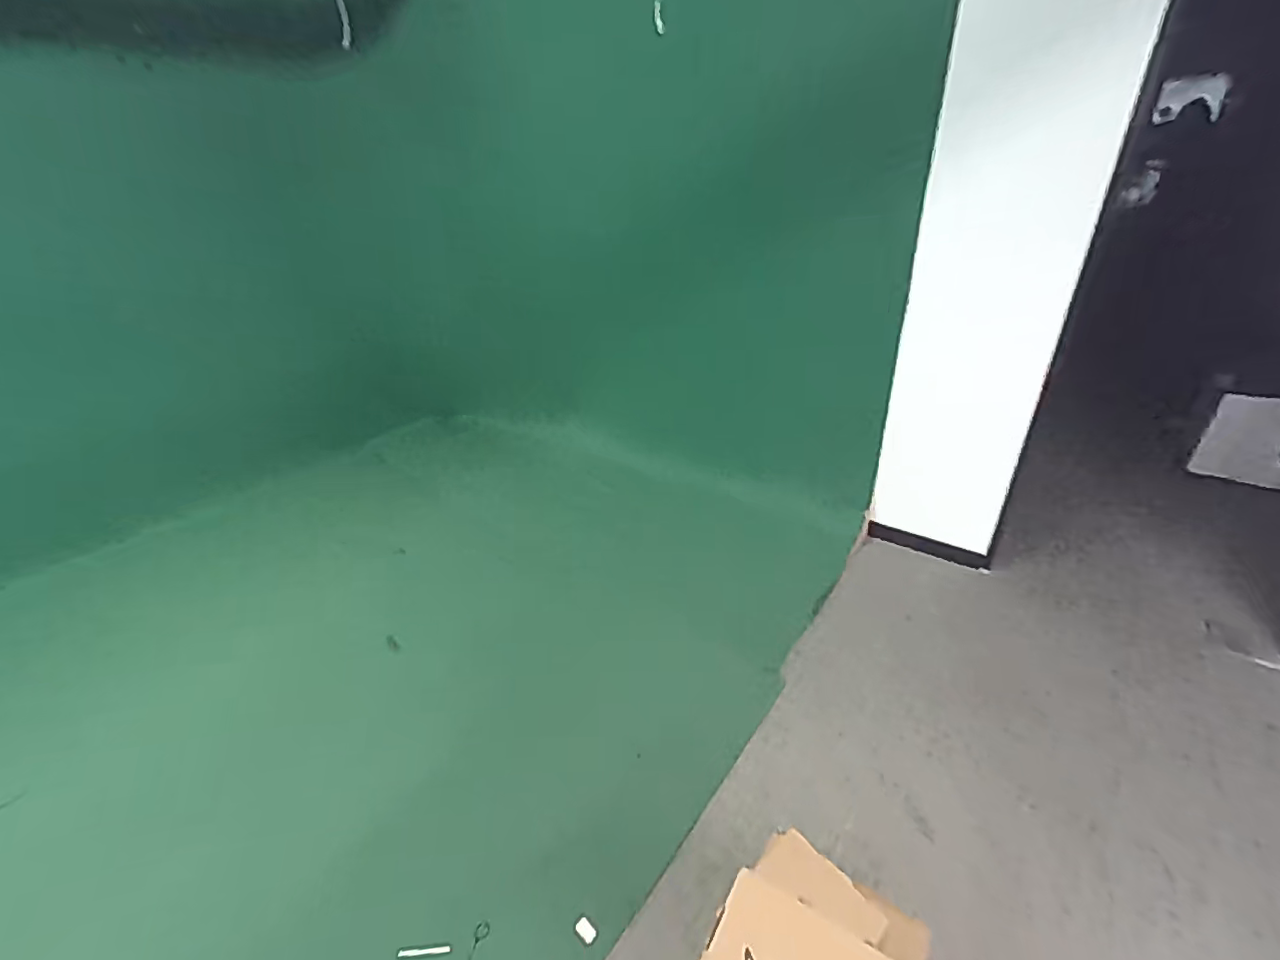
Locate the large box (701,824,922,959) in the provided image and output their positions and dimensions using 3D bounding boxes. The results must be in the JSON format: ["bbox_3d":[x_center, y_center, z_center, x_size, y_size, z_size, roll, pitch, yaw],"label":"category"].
[{"bbox_3d":[0.299,0.994,1.026,0.320,0.320,0.408,19,38,33],"label":"large box"}]

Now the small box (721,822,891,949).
[{"bbox_3d":[0.235,0.666,0.793,0.179,0.176,0.168,-27,36,-29],"label":"small box"}]

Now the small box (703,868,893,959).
[{"bbox_3d":[0.116,0.426,0.371,0.179,0.176,0.168,16,41,30],"label":"small box"}]
